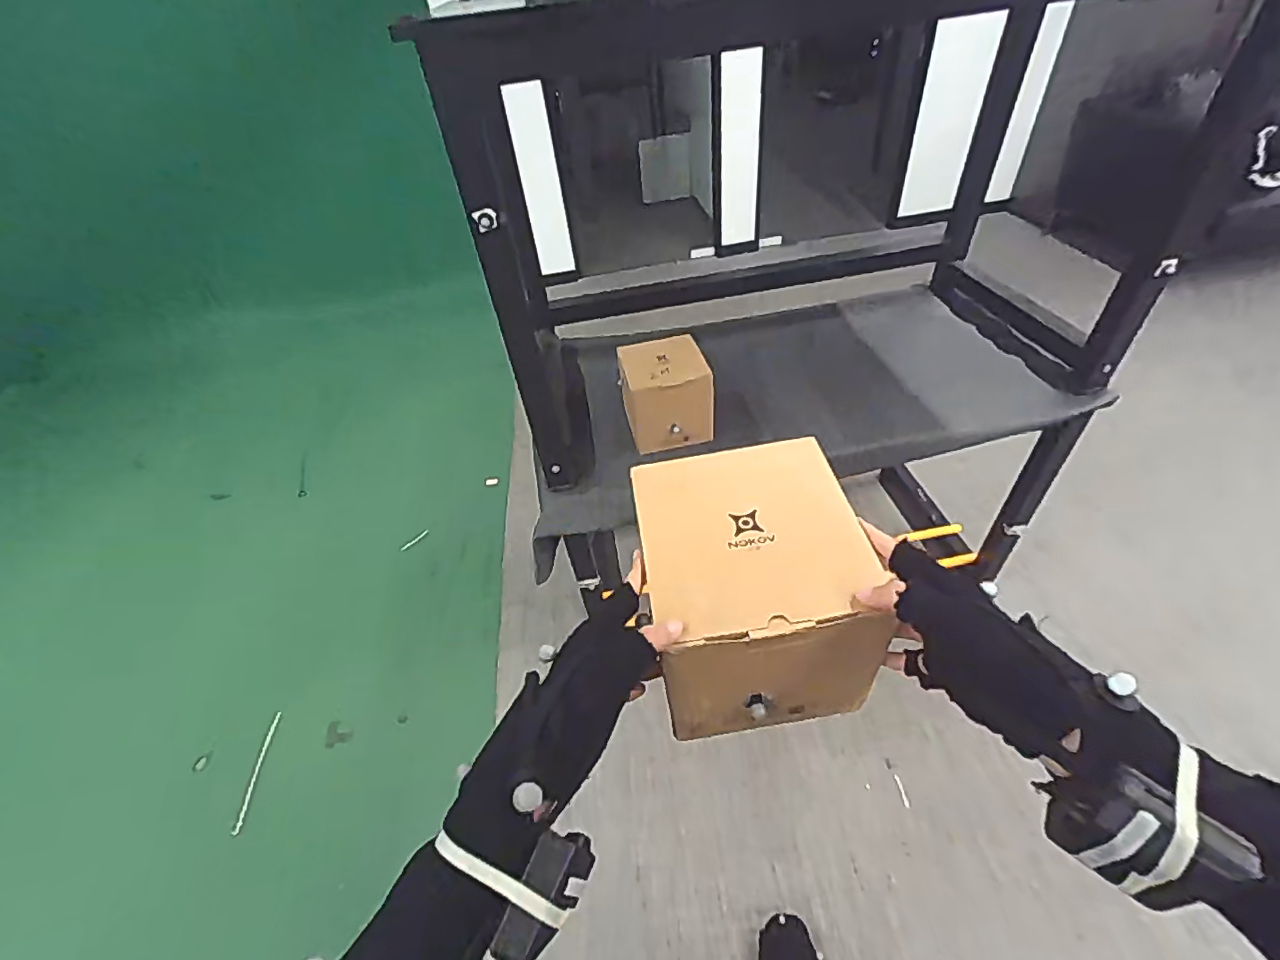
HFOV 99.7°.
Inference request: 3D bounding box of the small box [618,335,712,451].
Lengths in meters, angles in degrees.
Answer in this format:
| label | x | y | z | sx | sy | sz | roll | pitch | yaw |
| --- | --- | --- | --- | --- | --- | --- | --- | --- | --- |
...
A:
| label | x | y | z | sx | sy | sz | roll | pitch | yaw |
| --- | --- | --- | --- | --- | --- | --- | --- | --- | --- |
| small box | 0.053 | -0.187 | 1.167 | 0.168 | 0.176 | 0.179 | -12 | 43 | -4 |
